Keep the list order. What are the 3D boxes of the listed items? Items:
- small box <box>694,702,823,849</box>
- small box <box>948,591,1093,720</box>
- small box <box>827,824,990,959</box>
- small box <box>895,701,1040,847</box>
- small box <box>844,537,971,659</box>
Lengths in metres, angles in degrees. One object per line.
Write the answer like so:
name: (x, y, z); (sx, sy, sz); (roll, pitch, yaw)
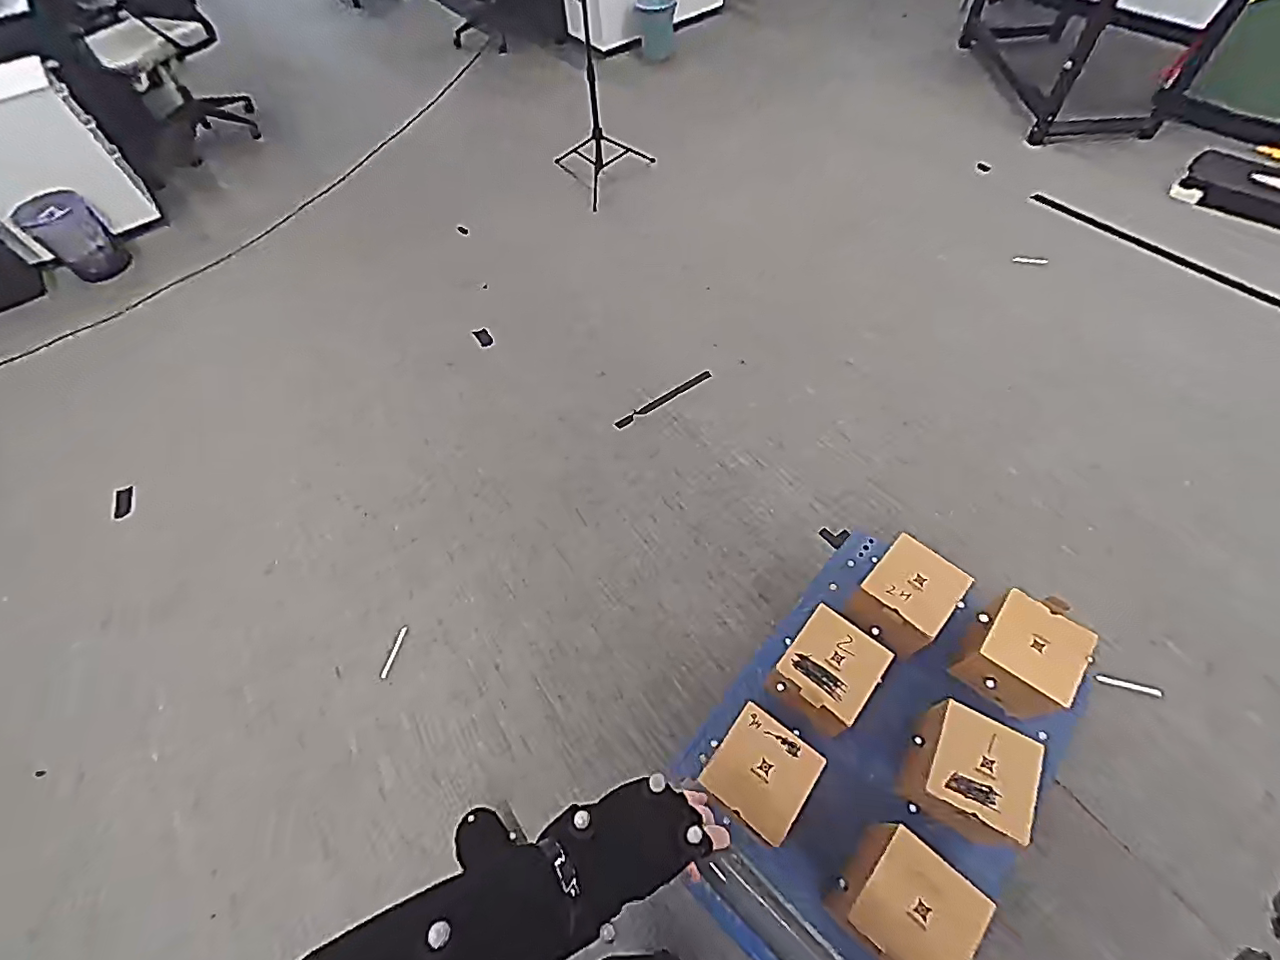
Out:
small box: (0.219, 0.563, 1.034); (0.168, 0.176, 0.179); (34, 66, 21)
small box: (0.778, 0.371, 1.126); (0.168, 0.176, 0.179); (34, 66, 22)
small box: (0.441, 0.726, 0.920); (0.168, 0.176, 0.179); (38, 66, 23)
small box: (0.606, 0.554, 1.018); (0.168, 0.176, 0.179); (25, 62, 18)
small box: (0.582, 0.265, 1.202); (0.168, 0.176, 0.179); (39, 68, 24)
